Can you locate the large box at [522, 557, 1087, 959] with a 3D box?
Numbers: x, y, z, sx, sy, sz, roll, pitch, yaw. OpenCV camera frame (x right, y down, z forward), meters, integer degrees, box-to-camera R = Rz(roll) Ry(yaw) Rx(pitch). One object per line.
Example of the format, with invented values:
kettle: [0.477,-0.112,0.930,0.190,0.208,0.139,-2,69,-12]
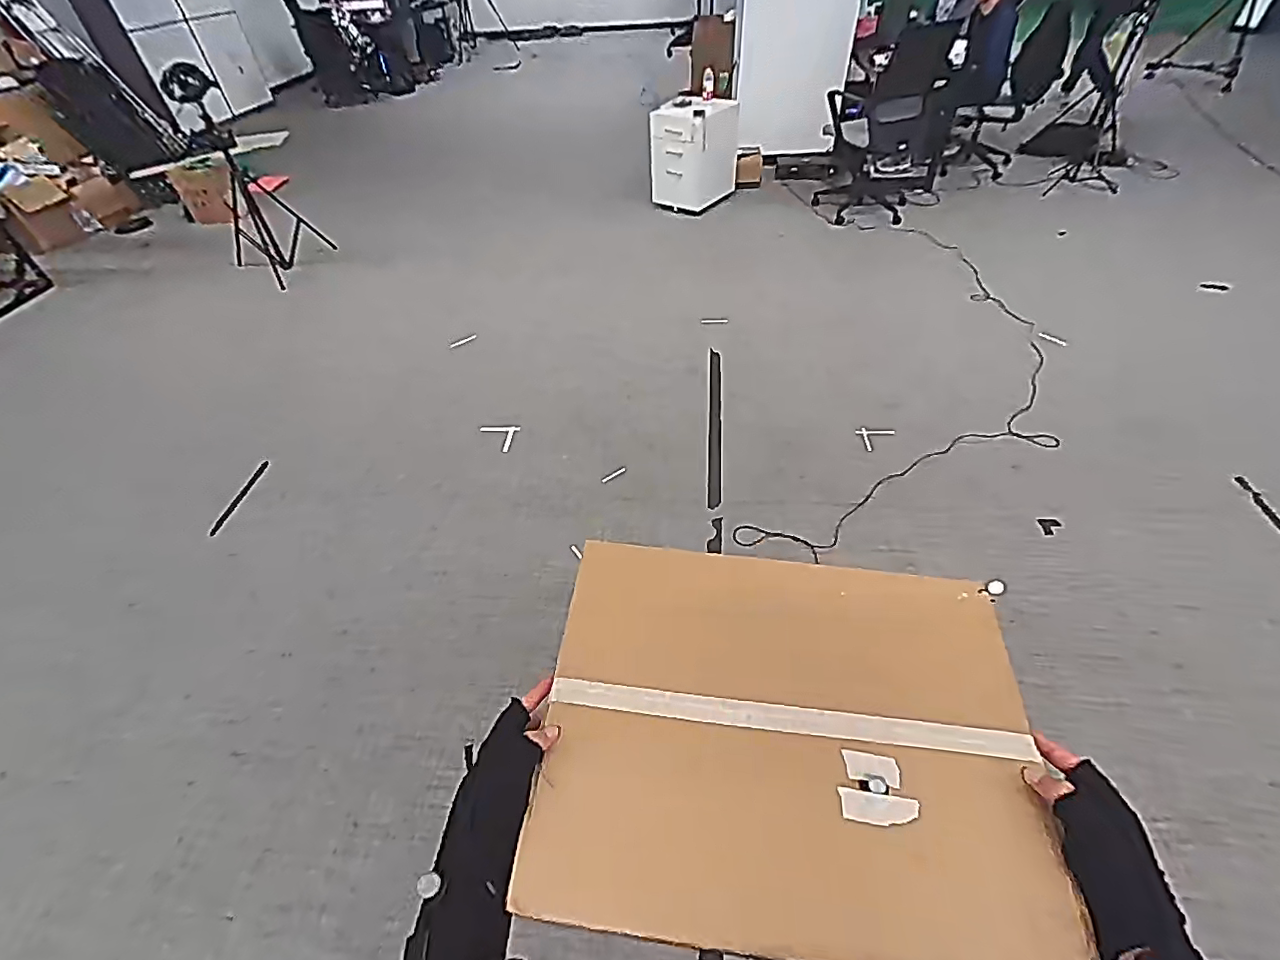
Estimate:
large box: [0.126,0.309,0.582,0.408,0.320,0.320,6,52,5]
